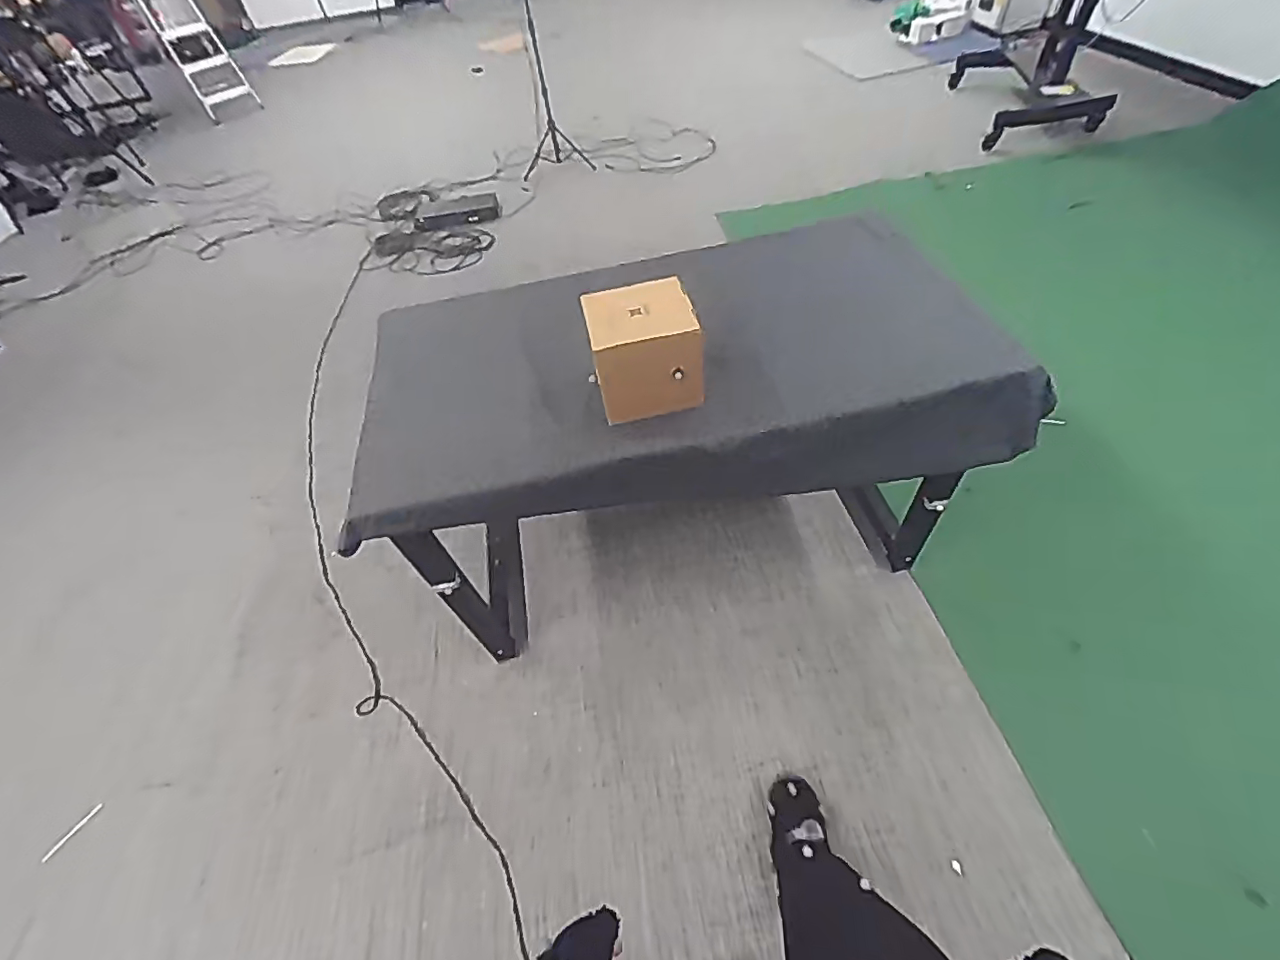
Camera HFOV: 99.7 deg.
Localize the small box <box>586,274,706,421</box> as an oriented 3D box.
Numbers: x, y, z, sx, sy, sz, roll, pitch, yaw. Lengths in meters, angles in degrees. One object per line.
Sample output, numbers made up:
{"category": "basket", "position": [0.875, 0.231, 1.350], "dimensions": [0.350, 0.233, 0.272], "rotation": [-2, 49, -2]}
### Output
{"category": "small box", "position": [0.013, -0.231, 0.954], "dimensions": [0.179, 0.176, 0.168], "rotation": [-14, 50, -1]}
